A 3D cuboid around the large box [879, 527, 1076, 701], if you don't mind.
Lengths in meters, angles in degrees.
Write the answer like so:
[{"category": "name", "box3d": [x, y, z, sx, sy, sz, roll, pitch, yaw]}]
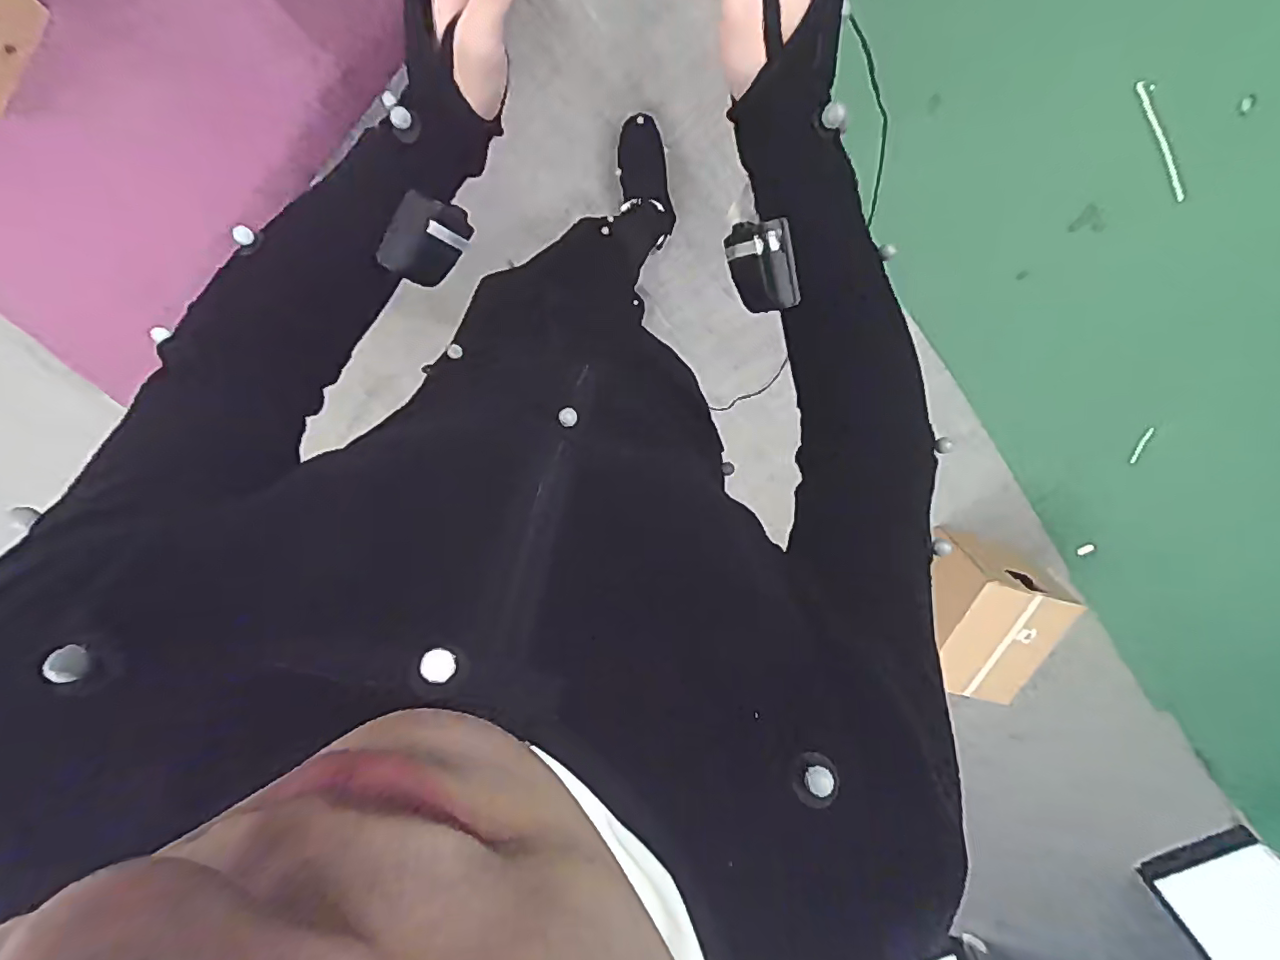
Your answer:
[{"category": "large box", "box3d": [1.041, 0.421, 1.728, 0.320, 0.320, 0.408, 15, 113, -7]}]
